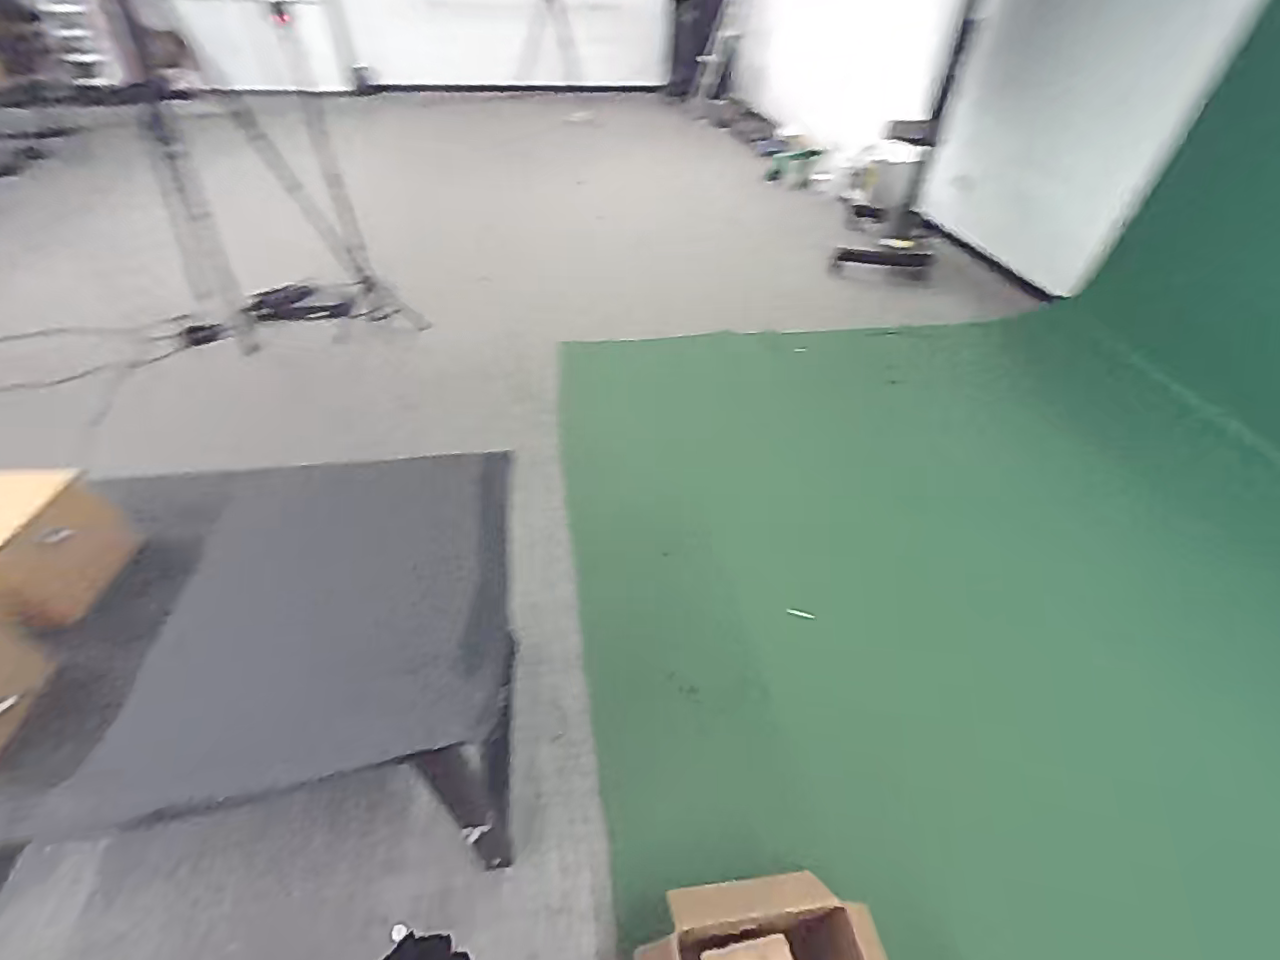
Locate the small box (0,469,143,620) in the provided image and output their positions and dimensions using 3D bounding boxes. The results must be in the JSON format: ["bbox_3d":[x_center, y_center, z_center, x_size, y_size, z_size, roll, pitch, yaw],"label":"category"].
[{"bbox_3d":[-0.936,0.104,0.832,0.168,0.176,0.179,-1,43,-4],"label":"small box"}]
